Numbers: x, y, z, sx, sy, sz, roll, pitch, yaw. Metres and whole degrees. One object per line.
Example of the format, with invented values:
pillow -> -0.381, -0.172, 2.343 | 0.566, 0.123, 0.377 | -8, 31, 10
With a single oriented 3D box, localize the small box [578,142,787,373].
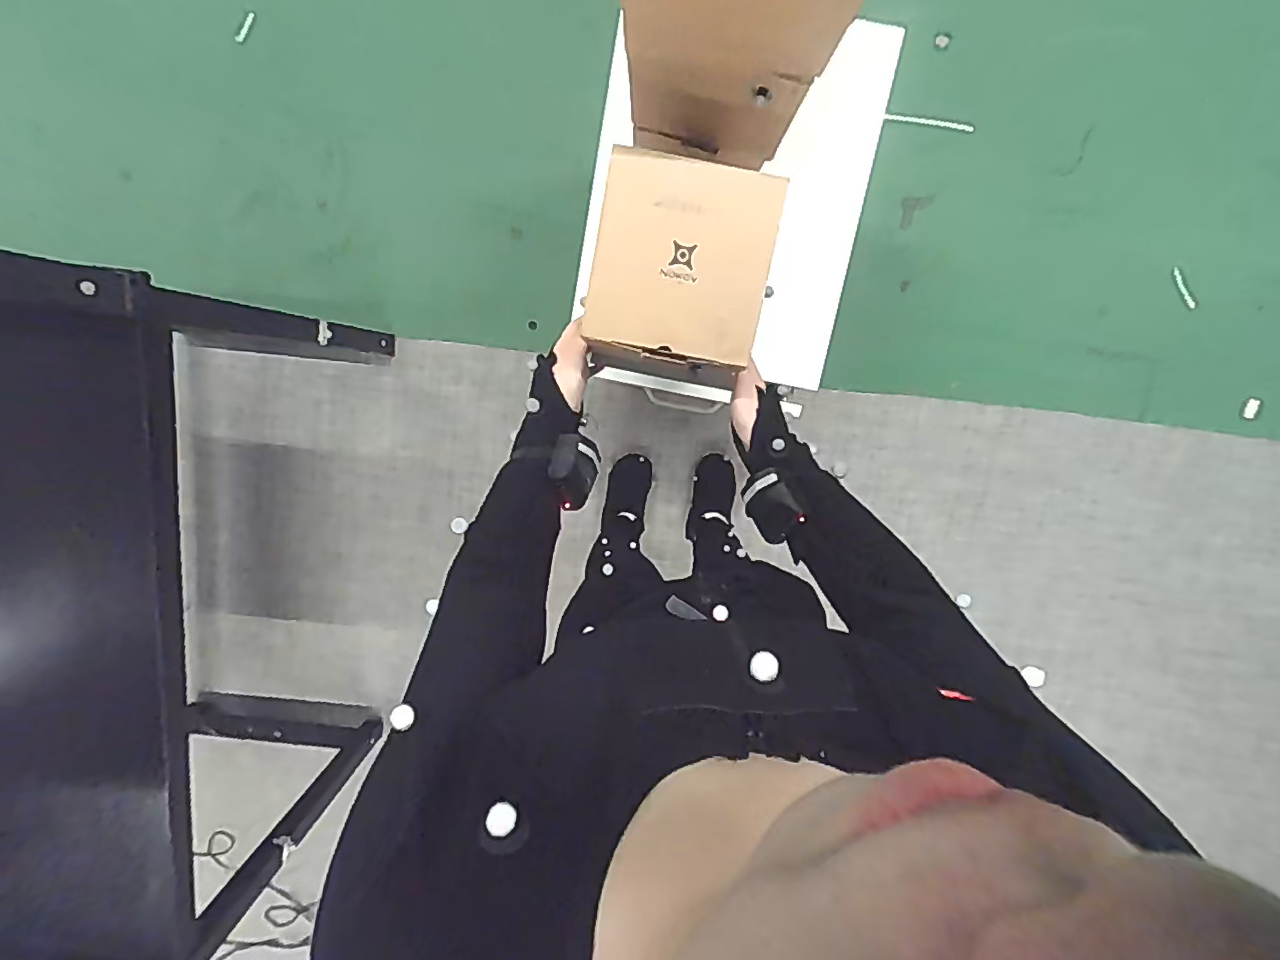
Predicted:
small box -> 0.038, -0.212, 0.568 | 0.168, 0.176, 0.179 | 10, 99, -2

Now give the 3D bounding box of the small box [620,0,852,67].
small box -> 0.078, -0.422, 0.367 | 0.179, 0.176, 0.168 | 7, 100, -1

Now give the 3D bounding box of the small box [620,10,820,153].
small box -> 0.086, -0.454, 0.528 | 0.179, 0.176, 0.168 | 14, 99, -2
